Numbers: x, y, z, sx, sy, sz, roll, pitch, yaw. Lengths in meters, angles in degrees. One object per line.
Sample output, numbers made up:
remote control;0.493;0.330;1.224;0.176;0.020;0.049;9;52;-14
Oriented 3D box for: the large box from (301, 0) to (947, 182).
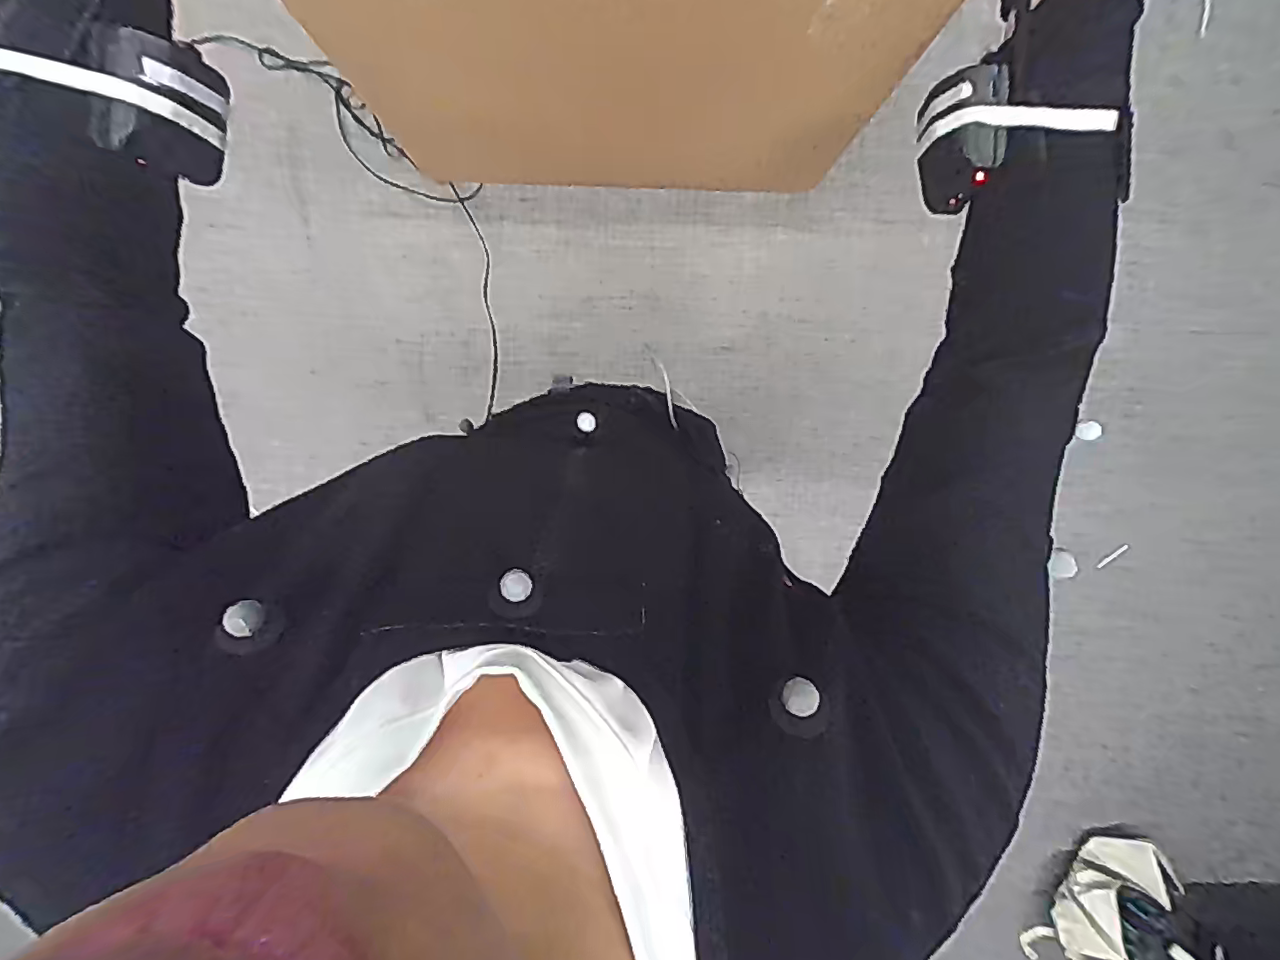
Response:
large box;-0.013;-0.445;0.398;0.408;0.320;0.320;0;97;-2
